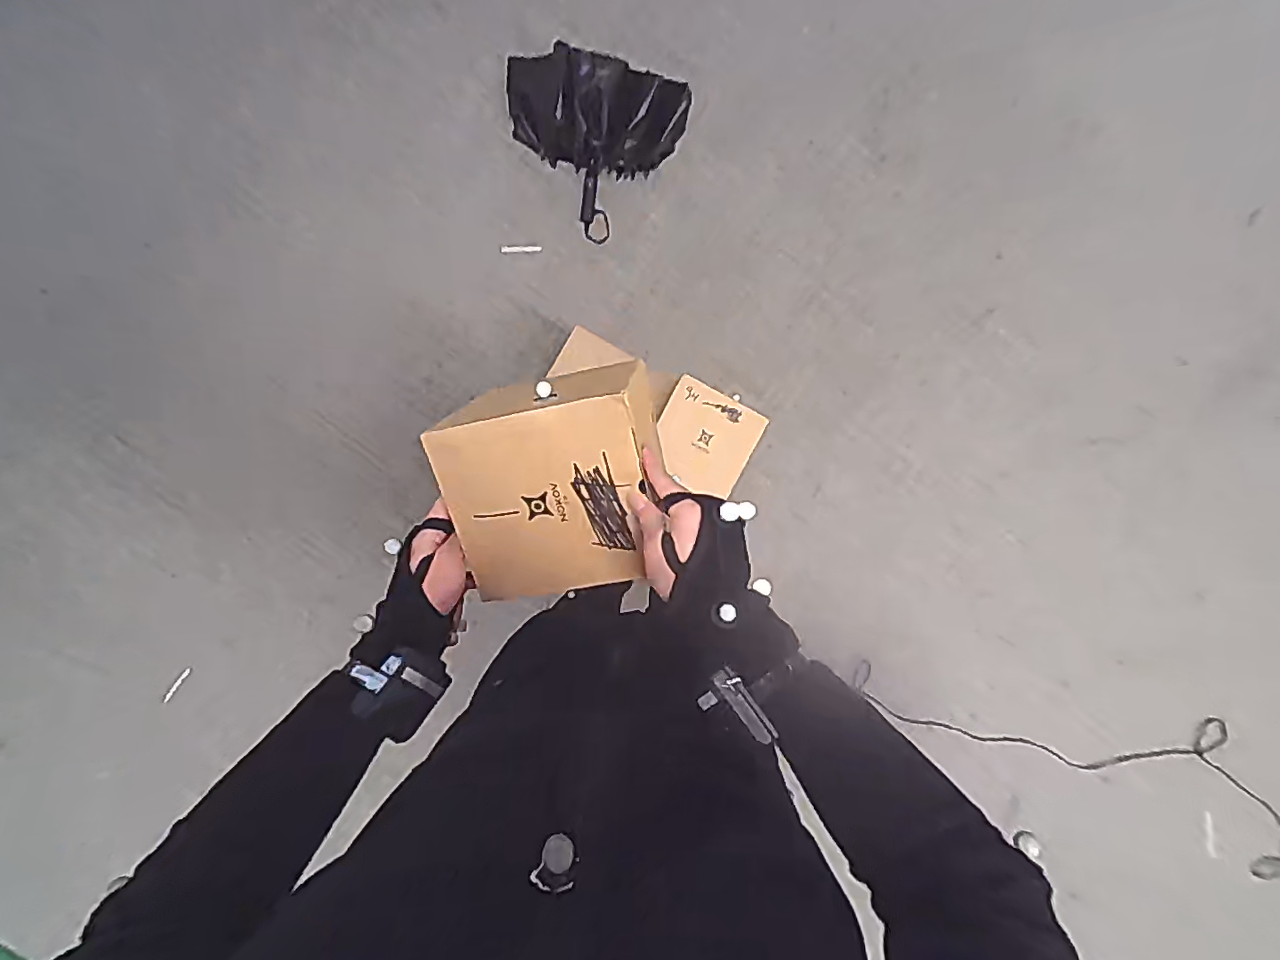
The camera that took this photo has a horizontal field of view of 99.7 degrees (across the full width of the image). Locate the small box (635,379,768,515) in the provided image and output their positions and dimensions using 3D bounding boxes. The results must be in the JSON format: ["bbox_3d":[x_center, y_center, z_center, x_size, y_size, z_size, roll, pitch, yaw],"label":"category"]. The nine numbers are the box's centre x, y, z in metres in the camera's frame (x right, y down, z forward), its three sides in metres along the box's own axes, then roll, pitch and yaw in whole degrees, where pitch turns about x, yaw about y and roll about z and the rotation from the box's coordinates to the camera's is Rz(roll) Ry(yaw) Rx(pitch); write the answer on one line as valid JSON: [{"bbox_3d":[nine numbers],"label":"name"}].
[{"bbox_3d":[0.104,-0.059,0.977,0.168,0.176,0.179,28,93,-3],"label":"small box"}]

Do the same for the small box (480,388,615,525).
[{"bbox_3d":[-0.155,-0.048,0.978,0.168,0.176,0.179,31,98,-2],"label":"small box"}]
